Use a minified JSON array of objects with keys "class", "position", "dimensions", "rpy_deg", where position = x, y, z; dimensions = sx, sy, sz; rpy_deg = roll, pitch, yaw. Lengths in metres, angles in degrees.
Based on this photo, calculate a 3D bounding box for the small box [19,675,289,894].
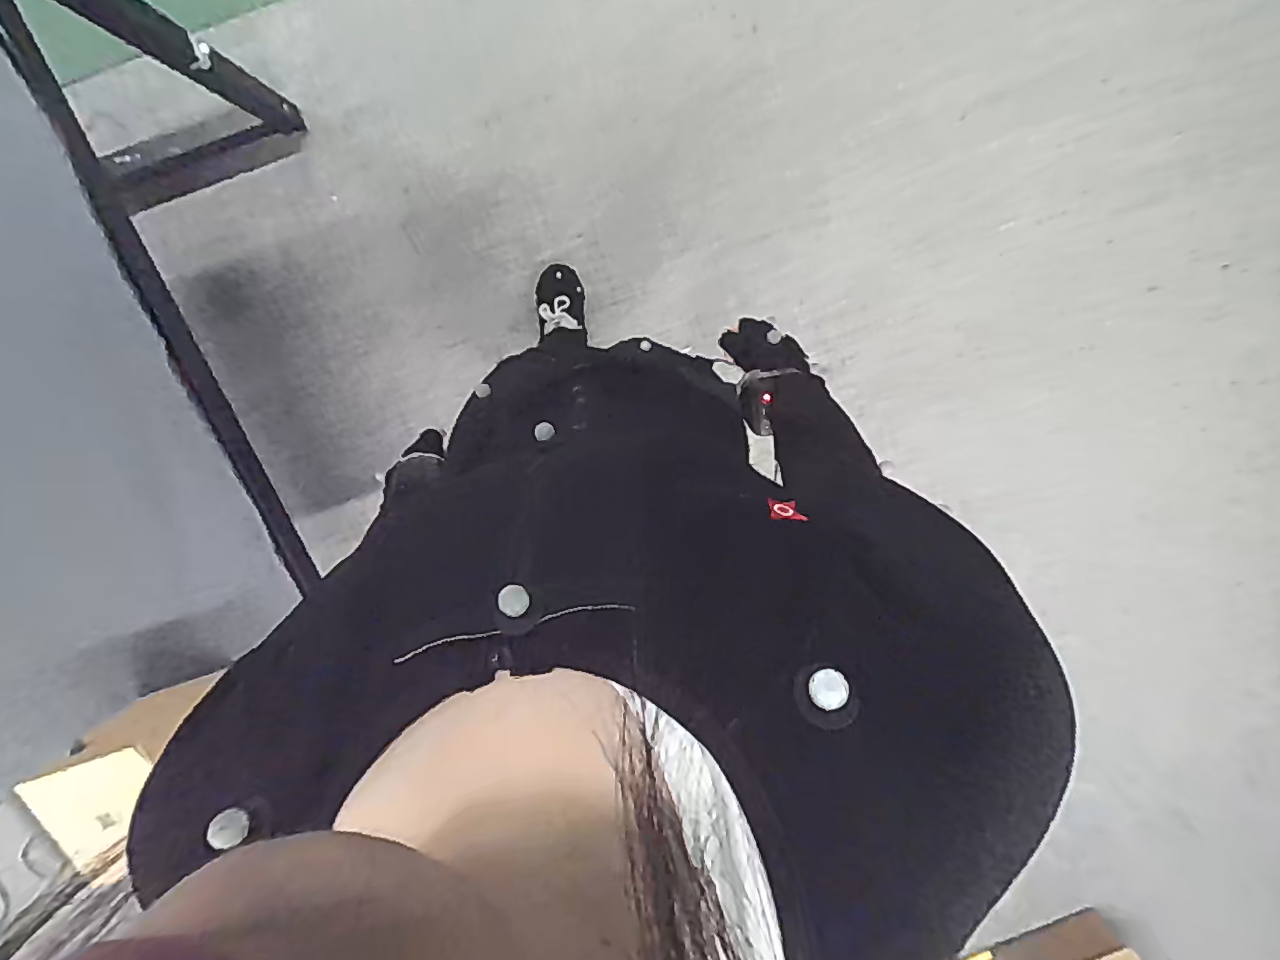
[{"class":"small box","position":[-0.632,0.398,0.731],"dimensions":[0.179,0.176,0.168],"rpy_deg":[-20,104,5]}]
